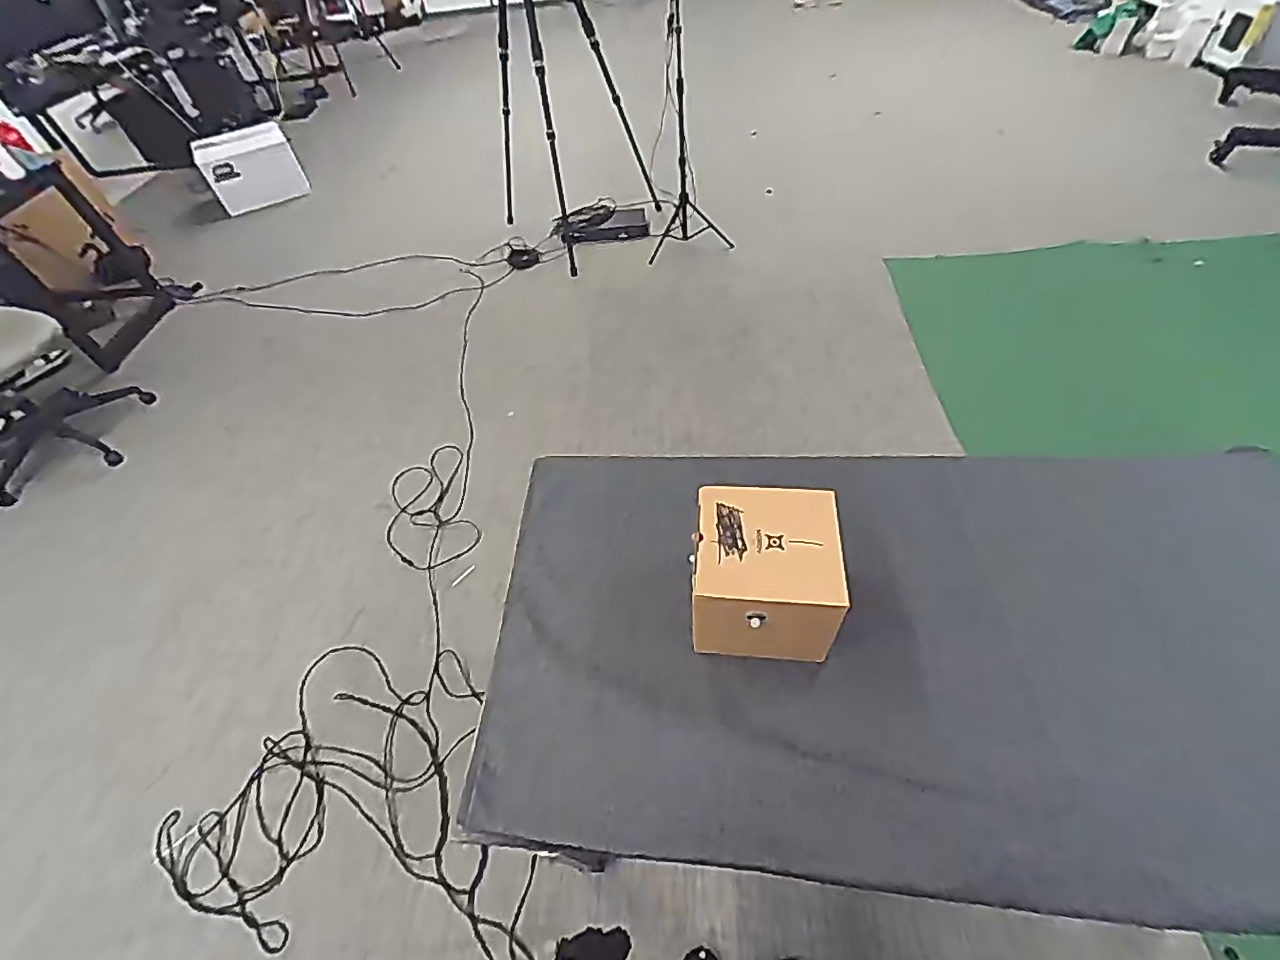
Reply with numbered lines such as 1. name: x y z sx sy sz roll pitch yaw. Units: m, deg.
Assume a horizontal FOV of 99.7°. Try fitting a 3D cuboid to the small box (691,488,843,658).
1. small box: 0.163 0.129 0.735 0.179 0.176 0.168 3 51 8
